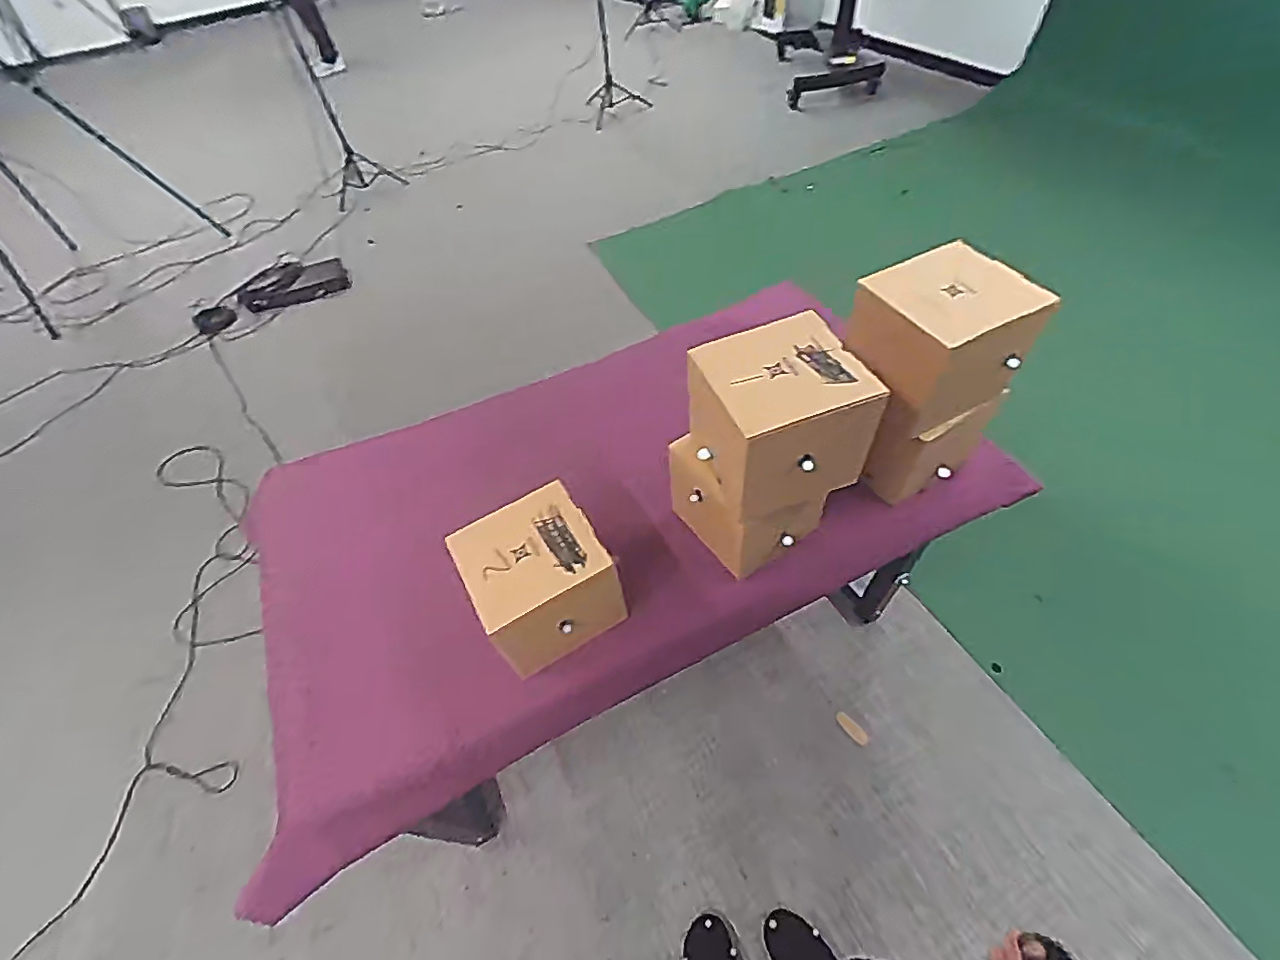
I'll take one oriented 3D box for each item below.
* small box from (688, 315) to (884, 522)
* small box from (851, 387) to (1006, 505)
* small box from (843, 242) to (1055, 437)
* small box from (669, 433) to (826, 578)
[{"bbox_3d":[0.171,-0.075,0.691,0.179,0.176,0.168,-19,52,-7],"label":"small box"},{"bbox_3d":[0.434,-0.094,0.881,0.179,0.176,0.168,-29,55,-14],"label":"small box"},{"bbox_3d":[0.405,-0.192,0.753,0.179,0.176,0.168,-24,54,-11],"label":"small box"},{"bbox_3d":[0.162,0.016,0.830,0.168,0.176,0.179,-31,55,-16],"label":"small box"}]
